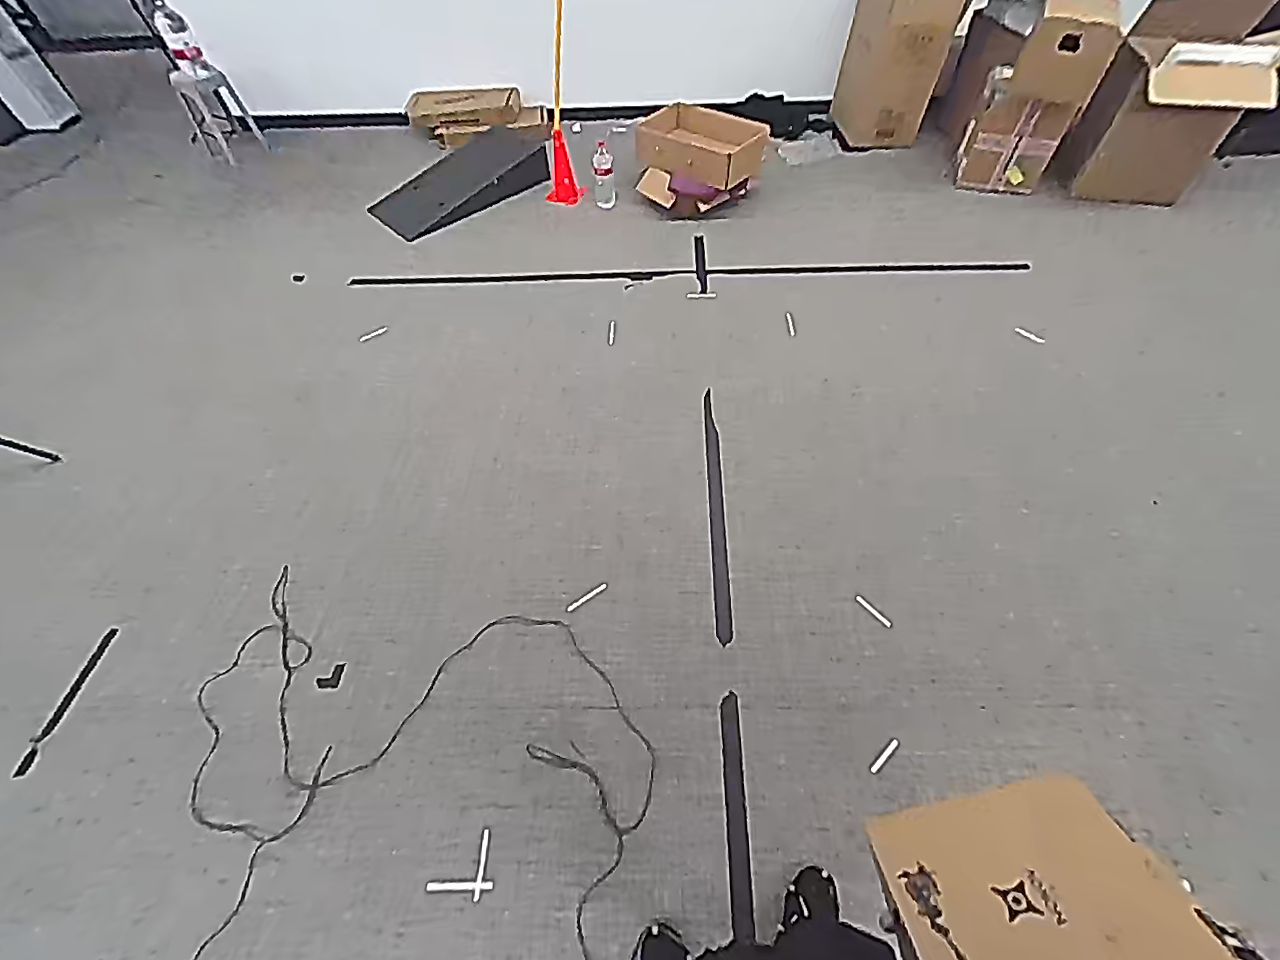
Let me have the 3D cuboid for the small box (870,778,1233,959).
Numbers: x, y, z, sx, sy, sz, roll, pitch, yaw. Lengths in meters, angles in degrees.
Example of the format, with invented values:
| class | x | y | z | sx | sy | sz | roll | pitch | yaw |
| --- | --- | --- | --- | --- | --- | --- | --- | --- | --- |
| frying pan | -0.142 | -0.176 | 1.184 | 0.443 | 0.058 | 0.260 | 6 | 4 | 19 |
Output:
| class | x | y | z | sx | sy | sz | roll | pitch | yaw |
| --- | --- | --- | --- | --- | --- | --- | --- | --- | --- |
| small box | 0.303 | 0.371 | 0.407 | 0.179 | 0.176 | 0.168 | -18 | 16 | 7 |
